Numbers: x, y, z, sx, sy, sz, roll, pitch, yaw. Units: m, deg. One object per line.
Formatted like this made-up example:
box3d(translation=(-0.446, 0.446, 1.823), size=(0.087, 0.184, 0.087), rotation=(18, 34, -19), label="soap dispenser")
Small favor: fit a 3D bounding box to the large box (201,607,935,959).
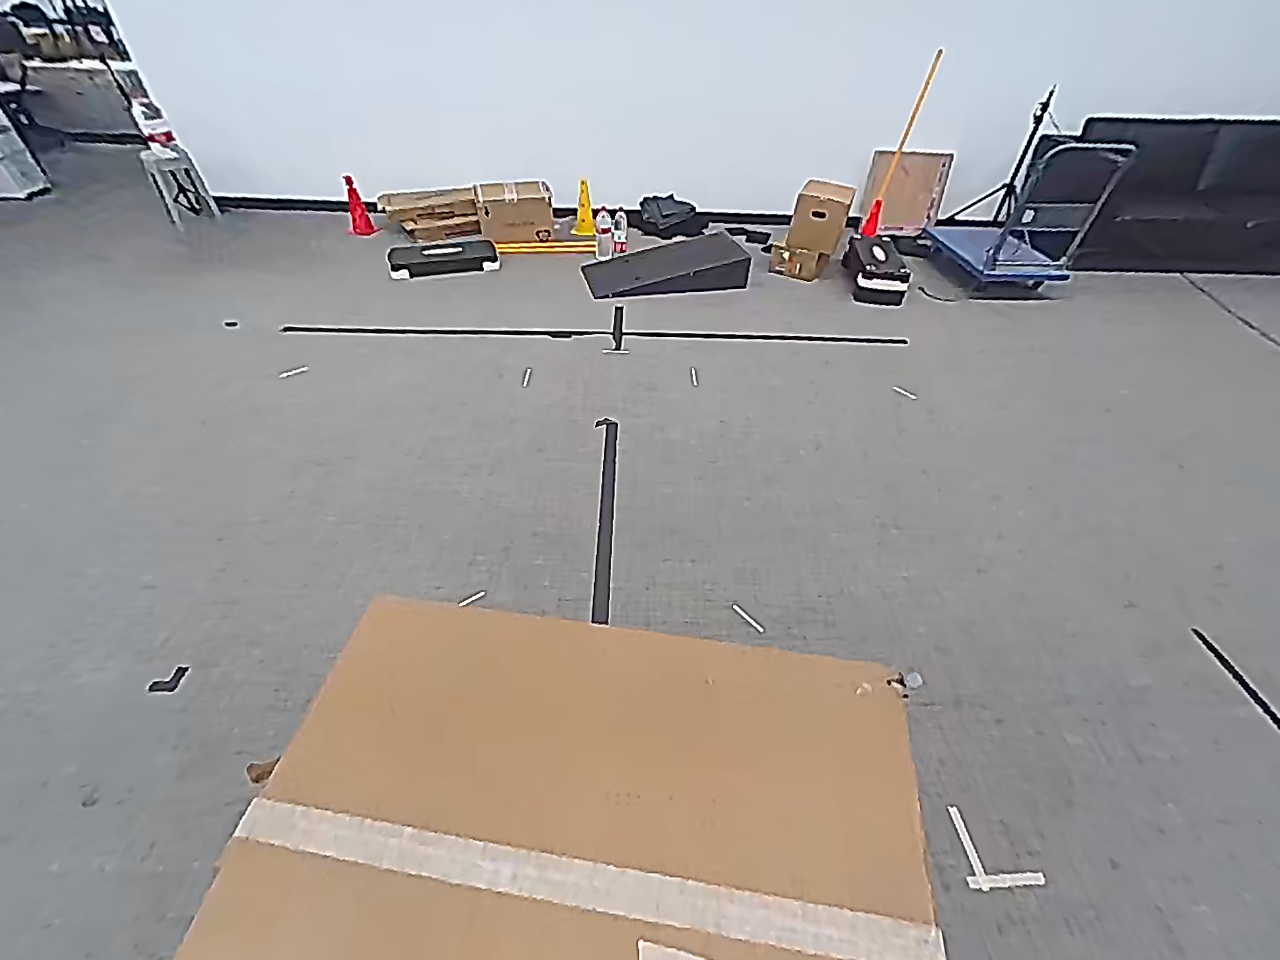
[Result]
box3d(translation=(-0.034, 0.332, 0.430), size=(0.408, 0.320, 0.320), rotation=(6, 50, 6), label="large box")
